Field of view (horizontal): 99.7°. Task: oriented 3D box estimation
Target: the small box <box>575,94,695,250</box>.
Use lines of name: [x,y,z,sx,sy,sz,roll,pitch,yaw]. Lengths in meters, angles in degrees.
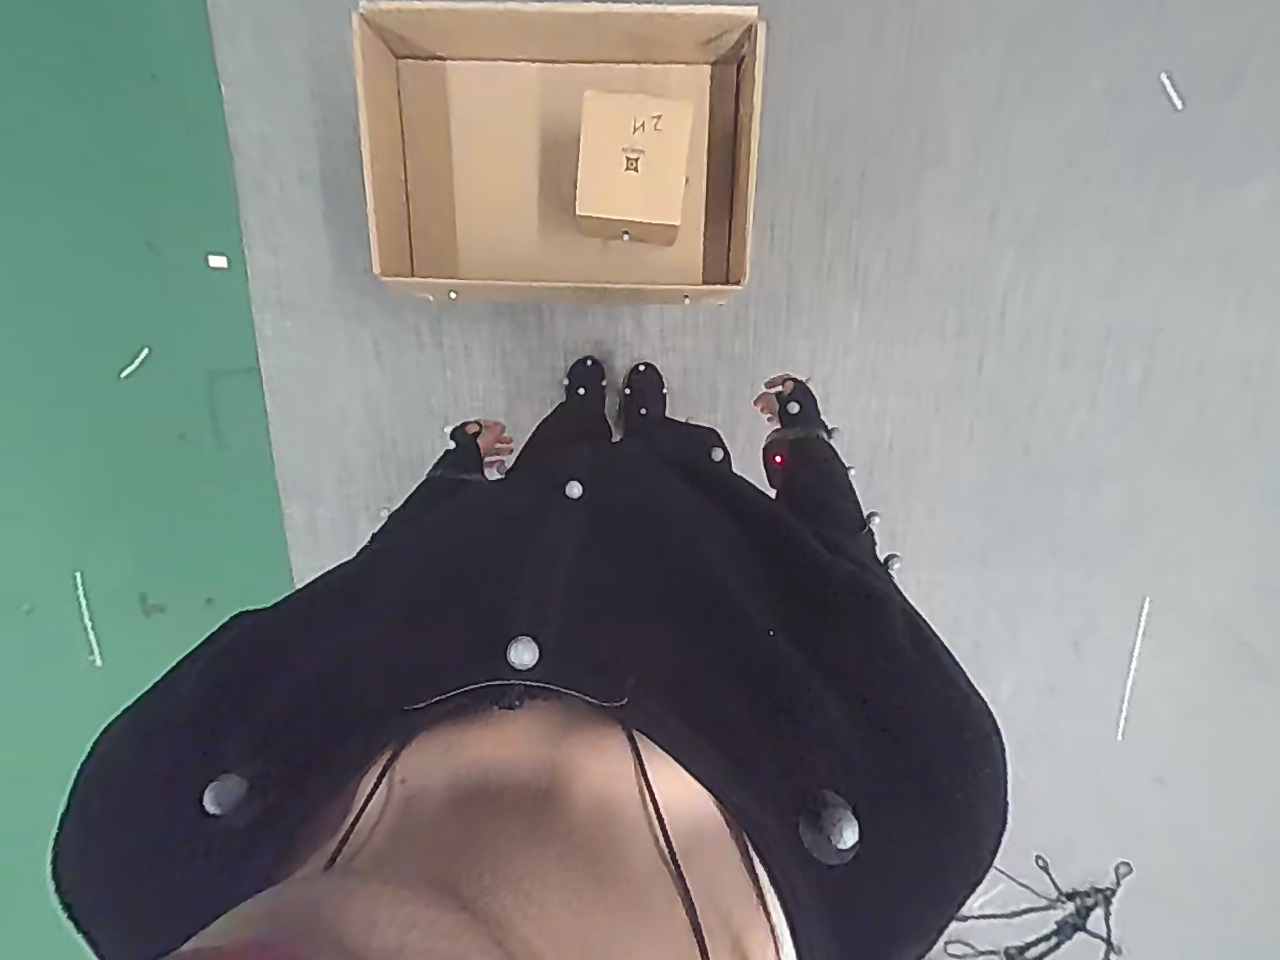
small box: [-0.007,-0.489,0.887,0.168,0.176,0.179,6,103,-1]
